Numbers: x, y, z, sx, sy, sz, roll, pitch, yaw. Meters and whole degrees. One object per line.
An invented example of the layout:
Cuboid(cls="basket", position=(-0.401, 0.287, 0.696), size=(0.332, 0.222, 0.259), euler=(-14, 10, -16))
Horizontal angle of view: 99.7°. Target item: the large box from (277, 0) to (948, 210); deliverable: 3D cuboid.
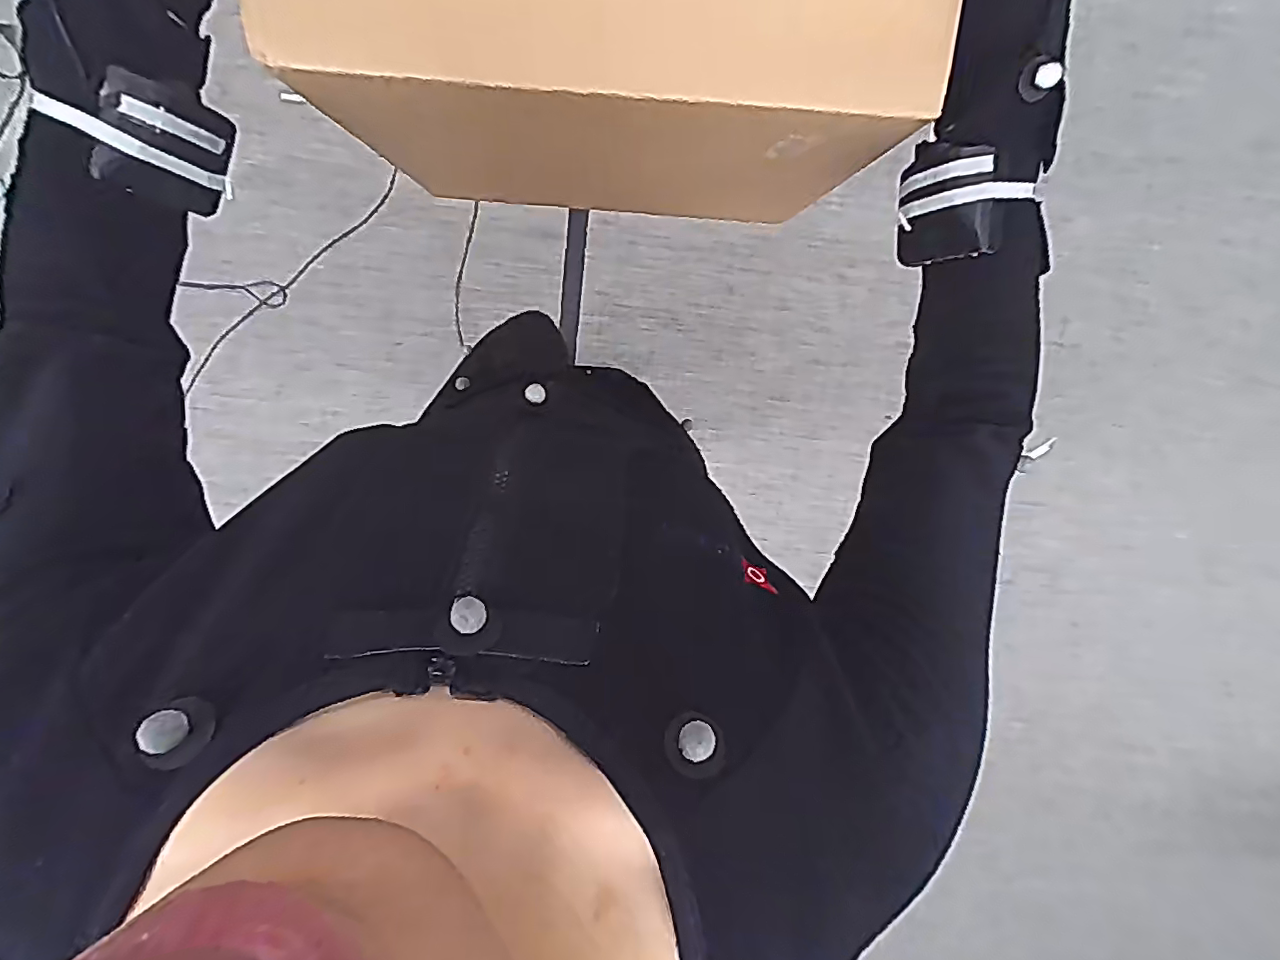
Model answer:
Cuboid(cls="large box", position=(-0.016, -0.424, 0.435), size=(0.408, 0.320, 0.320), euler=(2, 105, -3))
